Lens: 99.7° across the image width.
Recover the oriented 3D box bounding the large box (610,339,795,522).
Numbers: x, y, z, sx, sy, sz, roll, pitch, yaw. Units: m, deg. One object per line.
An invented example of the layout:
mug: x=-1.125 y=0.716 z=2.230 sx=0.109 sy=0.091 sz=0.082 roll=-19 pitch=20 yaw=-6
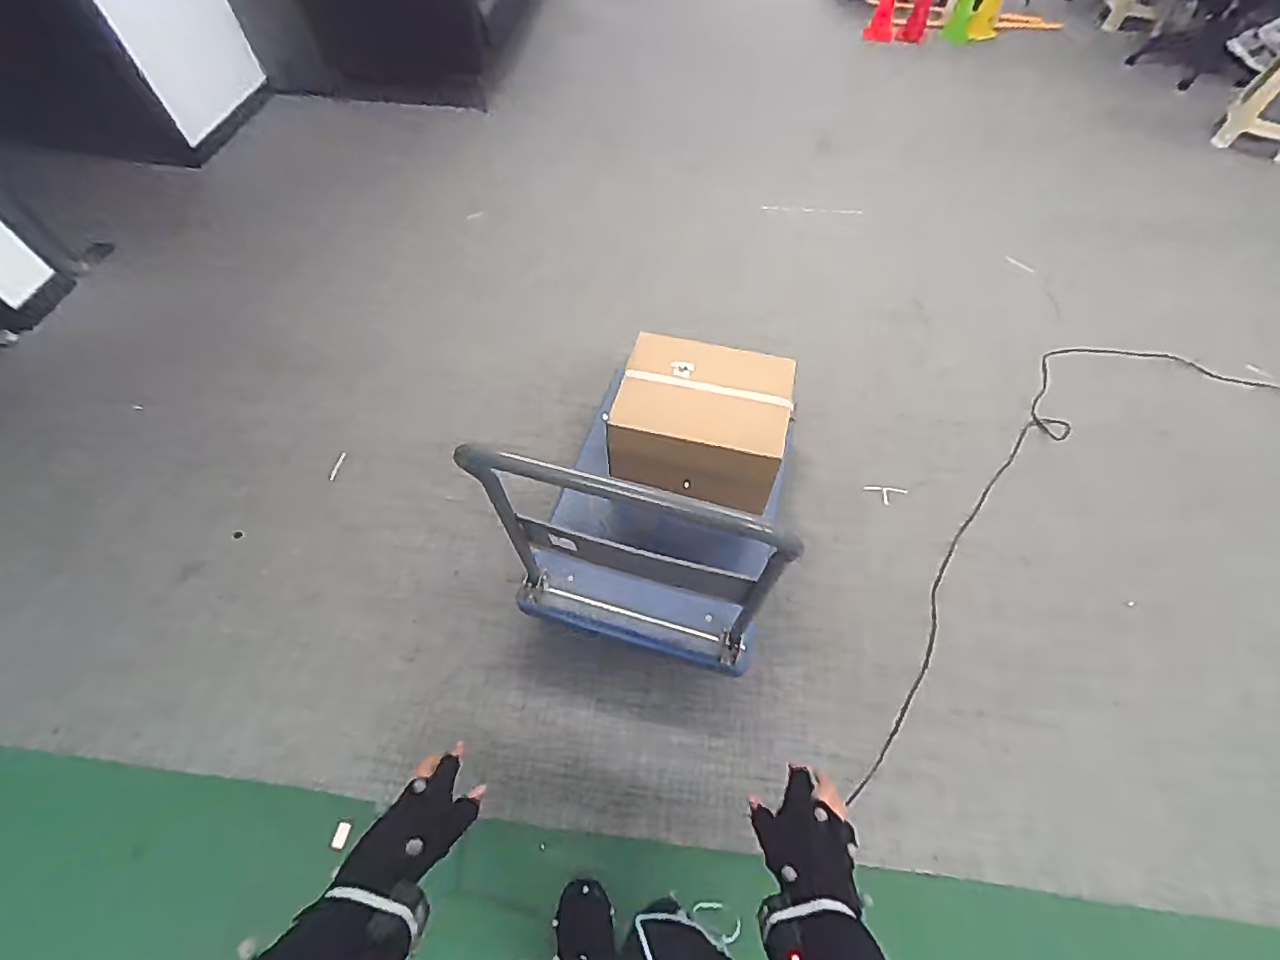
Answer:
large box: x=0.163 y=-0.123 z=1.418 sx=0.408 sy=0.320 sz=0.320 roll=12 pitch=57 yaw=8
